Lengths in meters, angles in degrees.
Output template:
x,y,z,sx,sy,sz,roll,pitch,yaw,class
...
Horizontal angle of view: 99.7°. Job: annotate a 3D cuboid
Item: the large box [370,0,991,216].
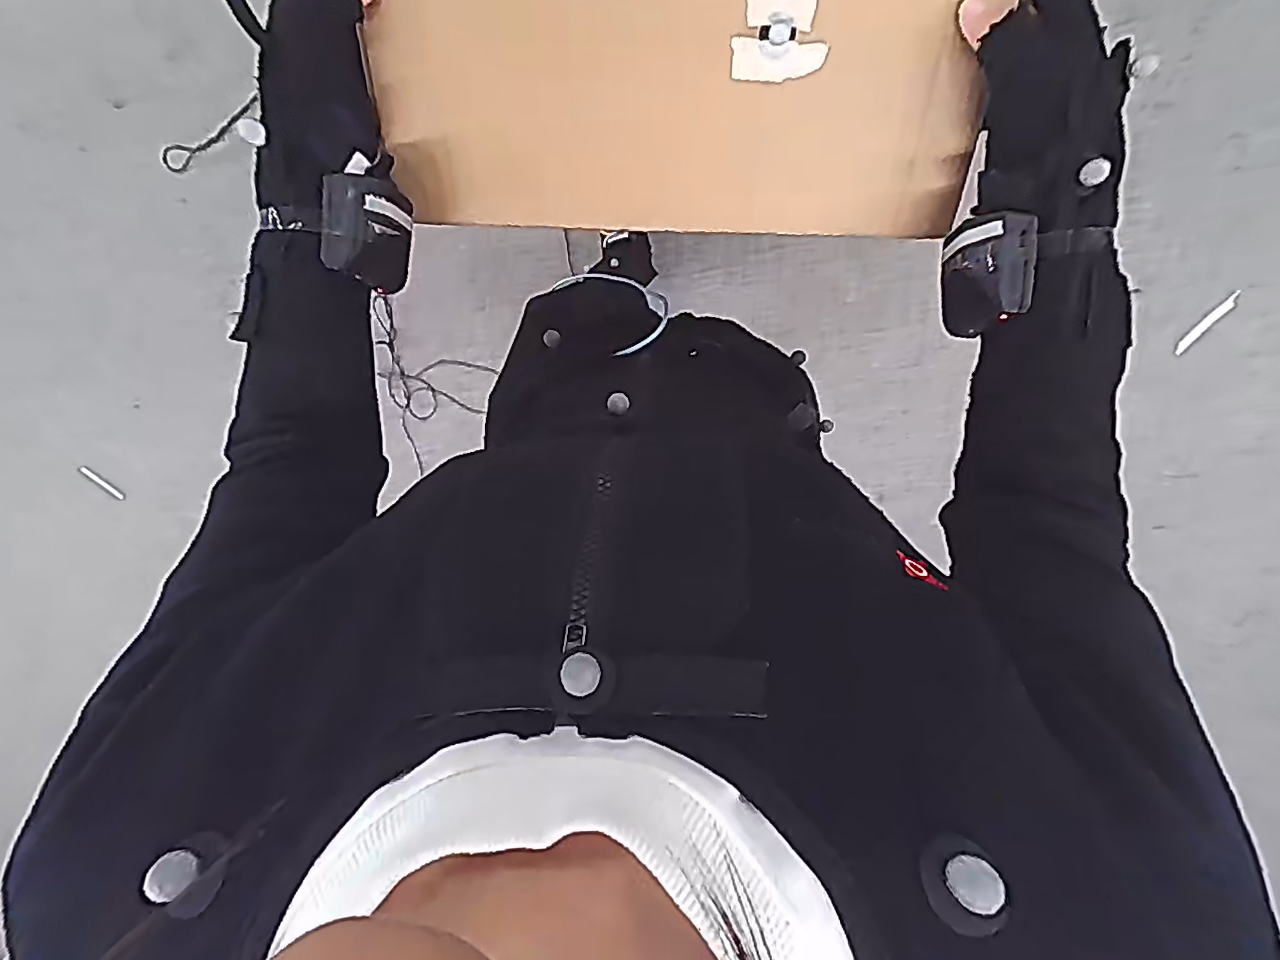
x,y,z,sx,sy,sz,roll,pitch,yaw,class
0.028,-0.407,0.458,0.408,0.320,0.320,2,121,2,large box
